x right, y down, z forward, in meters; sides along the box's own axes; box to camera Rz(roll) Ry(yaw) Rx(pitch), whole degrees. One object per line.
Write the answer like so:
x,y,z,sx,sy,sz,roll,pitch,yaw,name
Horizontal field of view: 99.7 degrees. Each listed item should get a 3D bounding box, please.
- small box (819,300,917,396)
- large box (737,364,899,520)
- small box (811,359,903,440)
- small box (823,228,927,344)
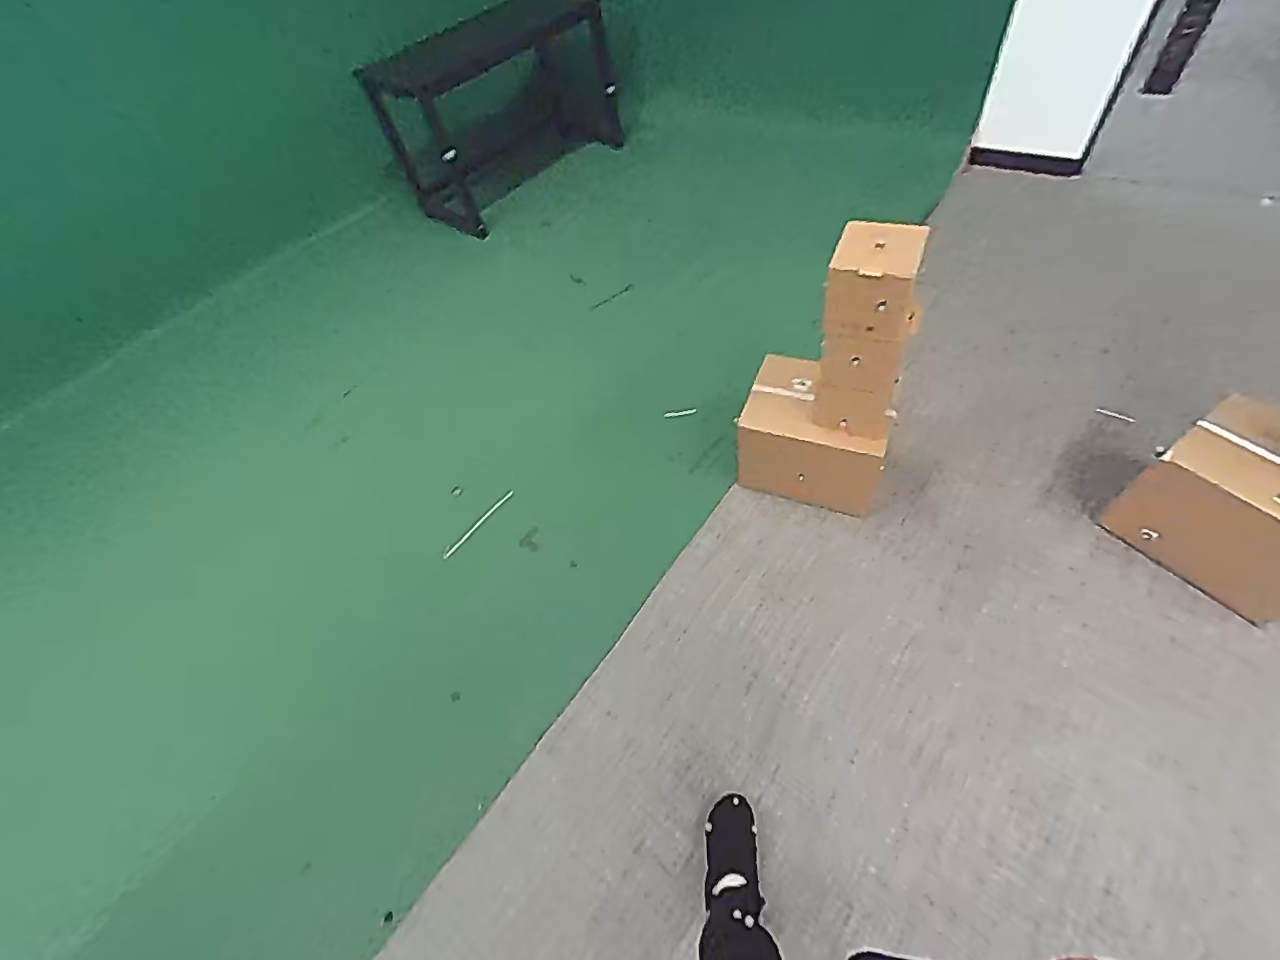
0.546,-0.324,1.308,0.179,0.176,0.168,14,58,22,small box
0.542,-0.118,1.673,0.408,0.320,0.320,14,57,22,large box
0.572,-0.229,1.439,0.179,0.176,0.168,19,59,23,small box
0.508,-0.423,1.184,0.168,0.176,0.179,16,58,22,small box
